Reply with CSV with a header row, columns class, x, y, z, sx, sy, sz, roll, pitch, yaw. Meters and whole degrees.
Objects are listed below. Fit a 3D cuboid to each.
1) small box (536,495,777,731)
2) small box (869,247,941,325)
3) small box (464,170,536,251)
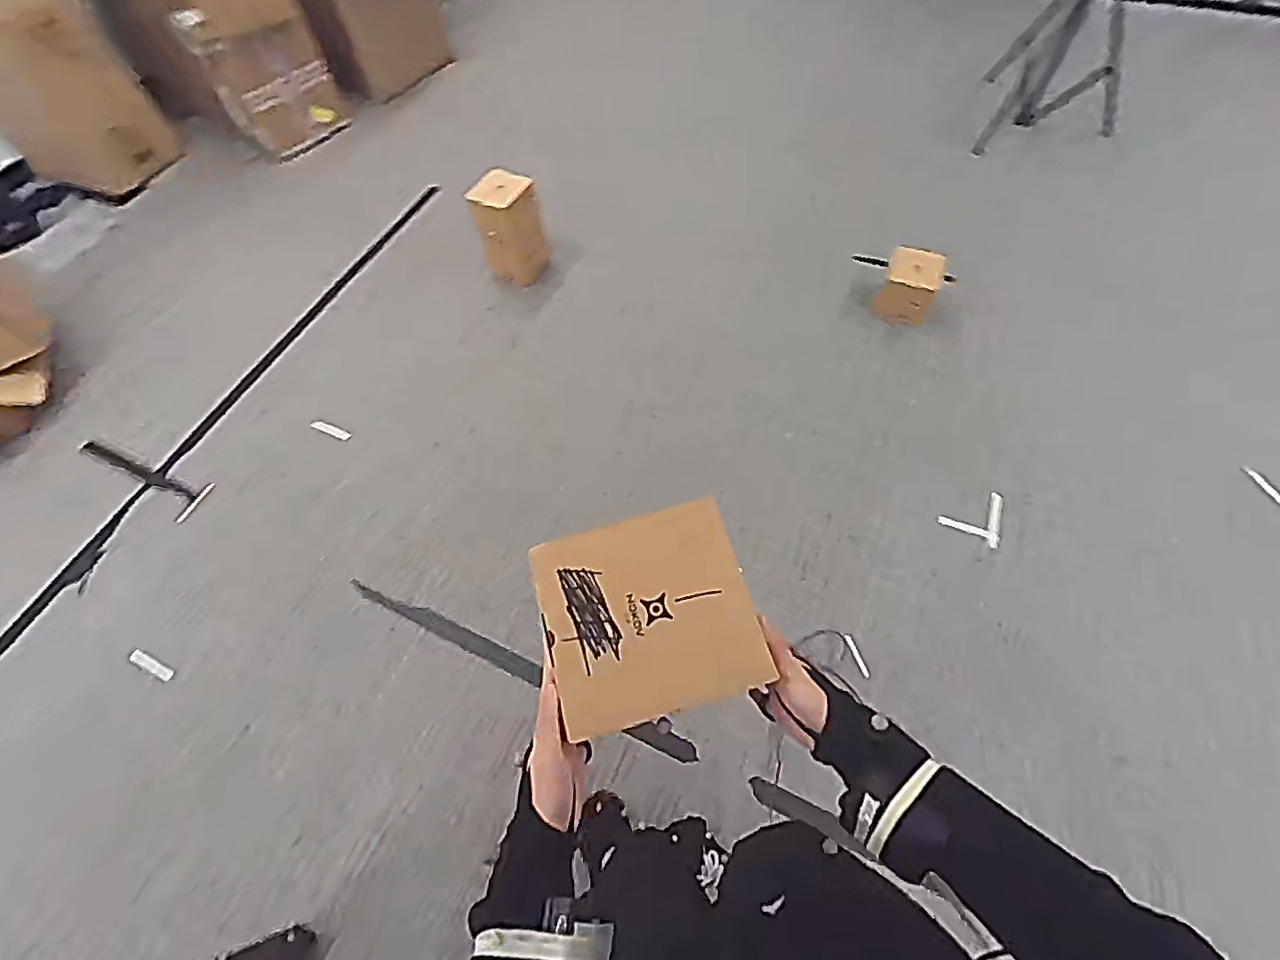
class,x,y,z,sx,sy,sz,roll,pitch,yaw
small box,0.014,0.136,0.530,0.179,0.176,0.168,-14,68,-3
small box,0.911,-0.668,1.871,0.168,0.176,0.179,18,63,12
small box,-0.484,-0.951,1.911,0.168,0.176,0.179,24,66,16
